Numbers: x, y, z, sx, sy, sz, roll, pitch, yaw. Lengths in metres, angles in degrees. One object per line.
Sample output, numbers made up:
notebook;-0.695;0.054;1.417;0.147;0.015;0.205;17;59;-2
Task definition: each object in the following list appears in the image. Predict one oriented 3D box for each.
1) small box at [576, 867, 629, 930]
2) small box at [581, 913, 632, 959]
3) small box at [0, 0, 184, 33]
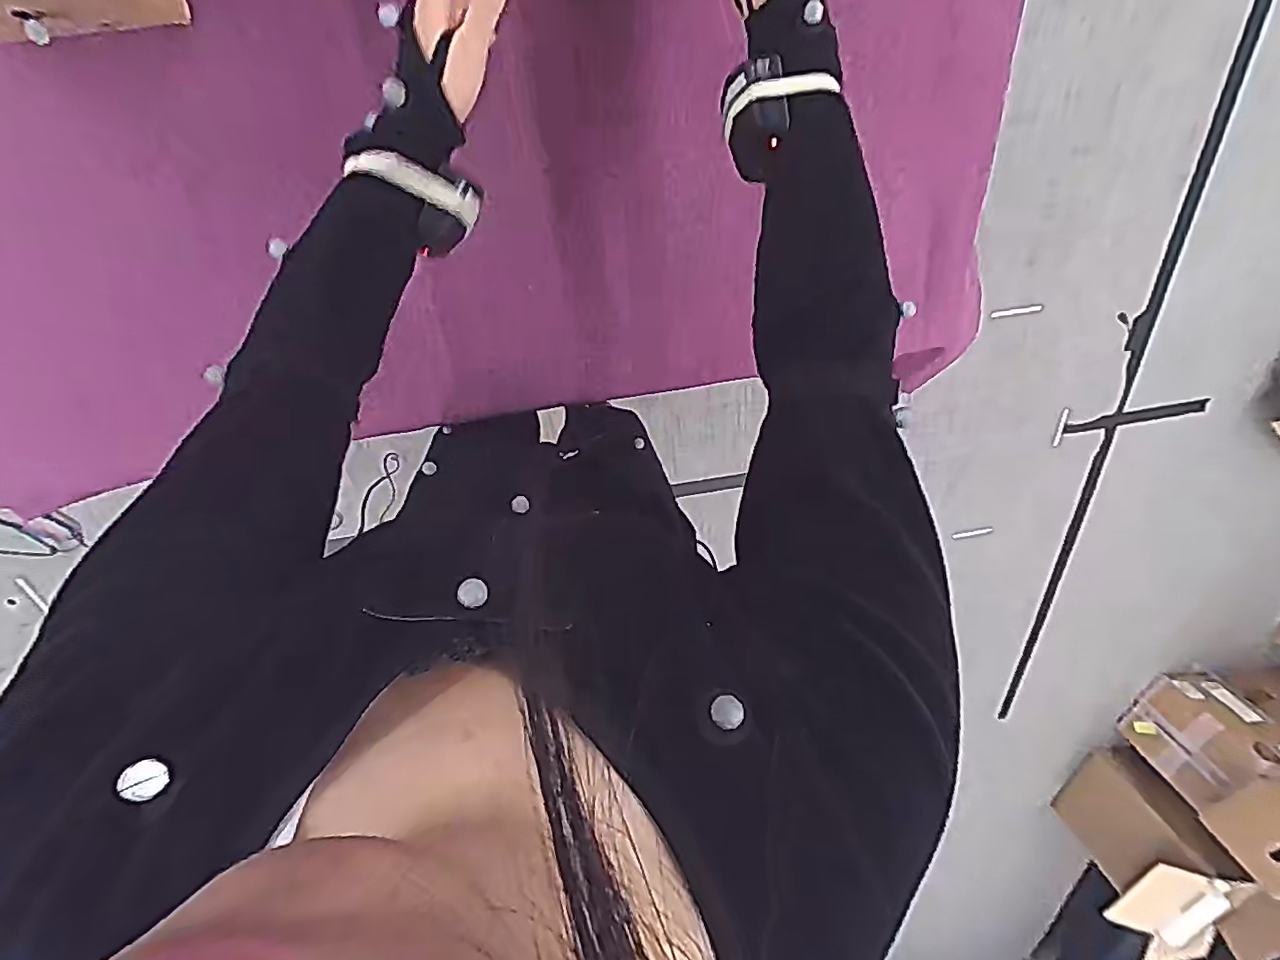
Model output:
small box;-0.146;1.639;2.095;0.179;0.176;0.168;-10;120;-3
small box;-0.118;1.710;1.952;0.168;0.176;0.179;-10;119;-4
small box;-0.460;-0.414;0.351;0.168;0.176;0.179;-11;123;-4
